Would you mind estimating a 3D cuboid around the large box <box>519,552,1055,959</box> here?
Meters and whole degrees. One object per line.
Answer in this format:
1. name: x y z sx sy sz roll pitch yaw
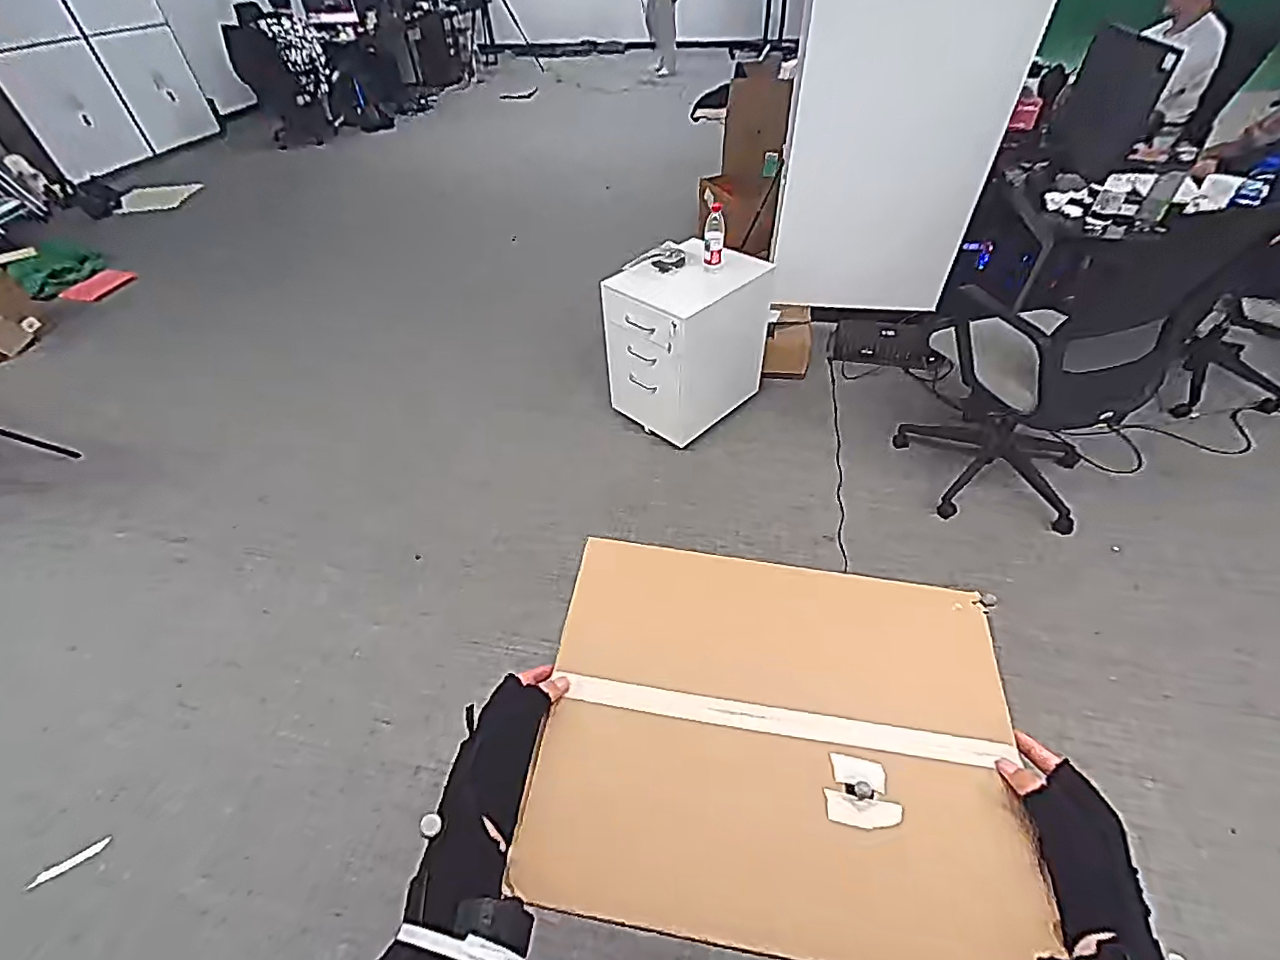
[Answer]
1. large box: 0.118 0.311 0.600 0.408 0.320 0.320 8 53 5
